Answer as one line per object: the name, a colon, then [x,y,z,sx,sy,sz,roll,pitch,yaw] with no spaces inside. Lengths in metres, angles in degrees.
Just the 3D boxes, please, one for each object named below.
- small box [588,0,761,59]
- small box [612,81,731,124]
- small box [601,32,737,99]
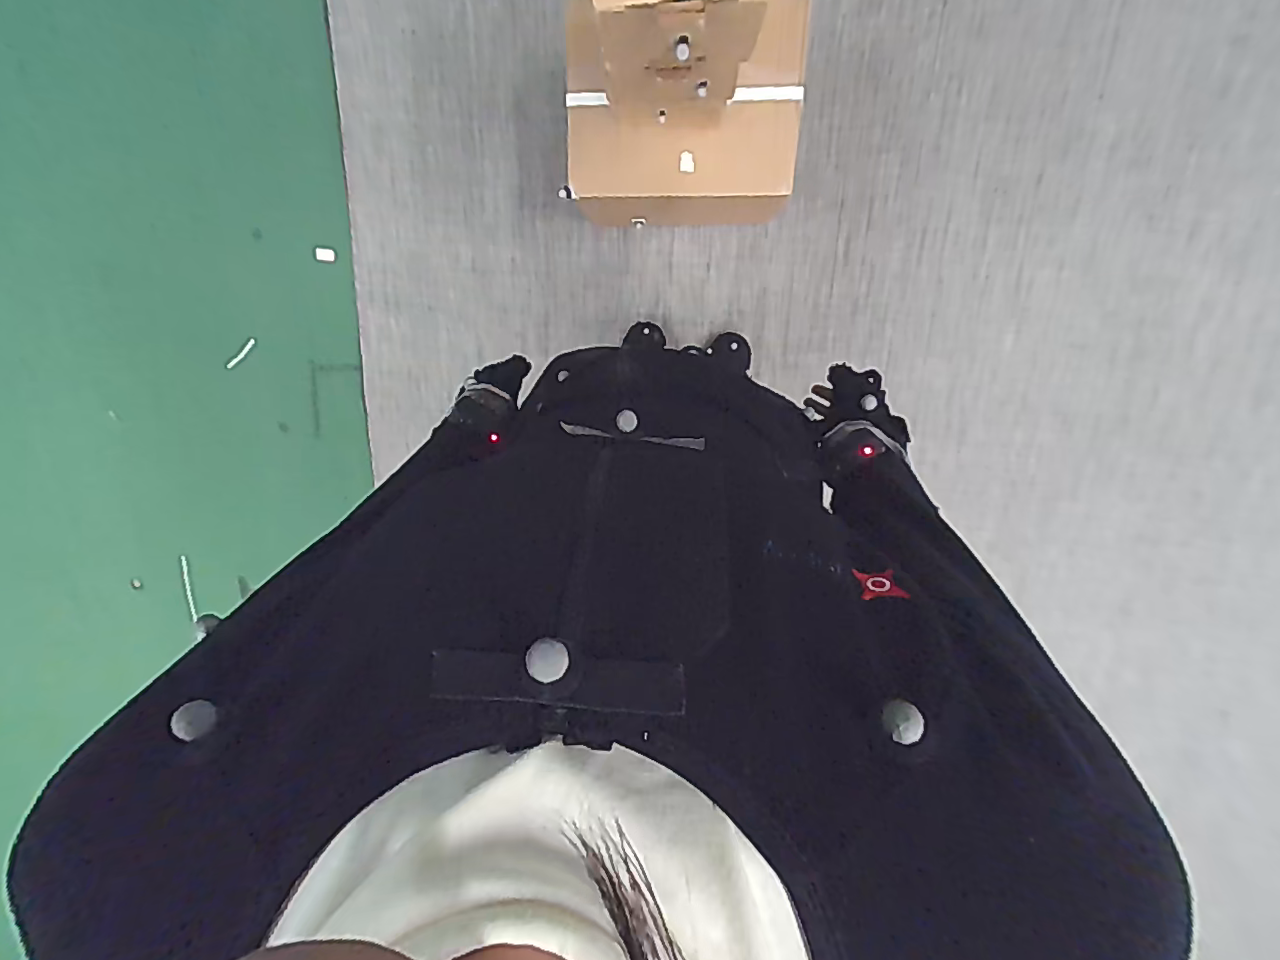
small box: [0.039,-0.545,0.537,0.168,0.176,0.179,1,113,6]
small box: [0.052,-0.667,0.839,0.179,0.176,0.168,2,113,5]
small box: [0.042,-0.607,0.688,0.168,0.176,0.179,0,112,5]
